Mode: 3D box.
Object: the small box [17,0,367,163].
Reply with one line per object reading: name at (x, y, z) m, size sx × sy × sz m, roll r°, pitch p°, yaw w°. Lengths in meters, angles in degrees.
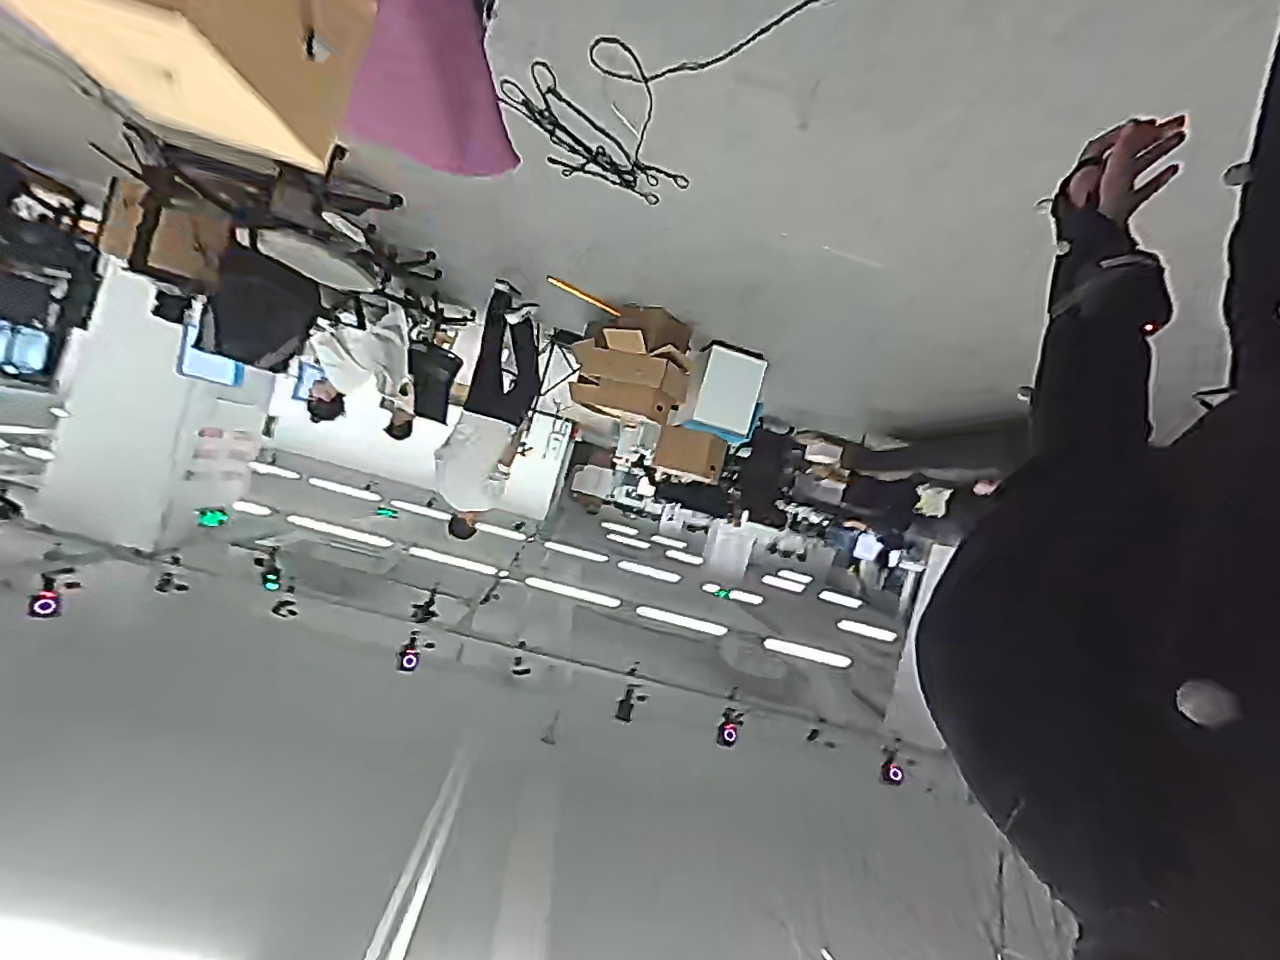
small box at (-0.341, -0.396, 0.420) m, size 0.179 × 0.176 × 0.168 m, roll 18°, pitch 179°, yaw -1°
